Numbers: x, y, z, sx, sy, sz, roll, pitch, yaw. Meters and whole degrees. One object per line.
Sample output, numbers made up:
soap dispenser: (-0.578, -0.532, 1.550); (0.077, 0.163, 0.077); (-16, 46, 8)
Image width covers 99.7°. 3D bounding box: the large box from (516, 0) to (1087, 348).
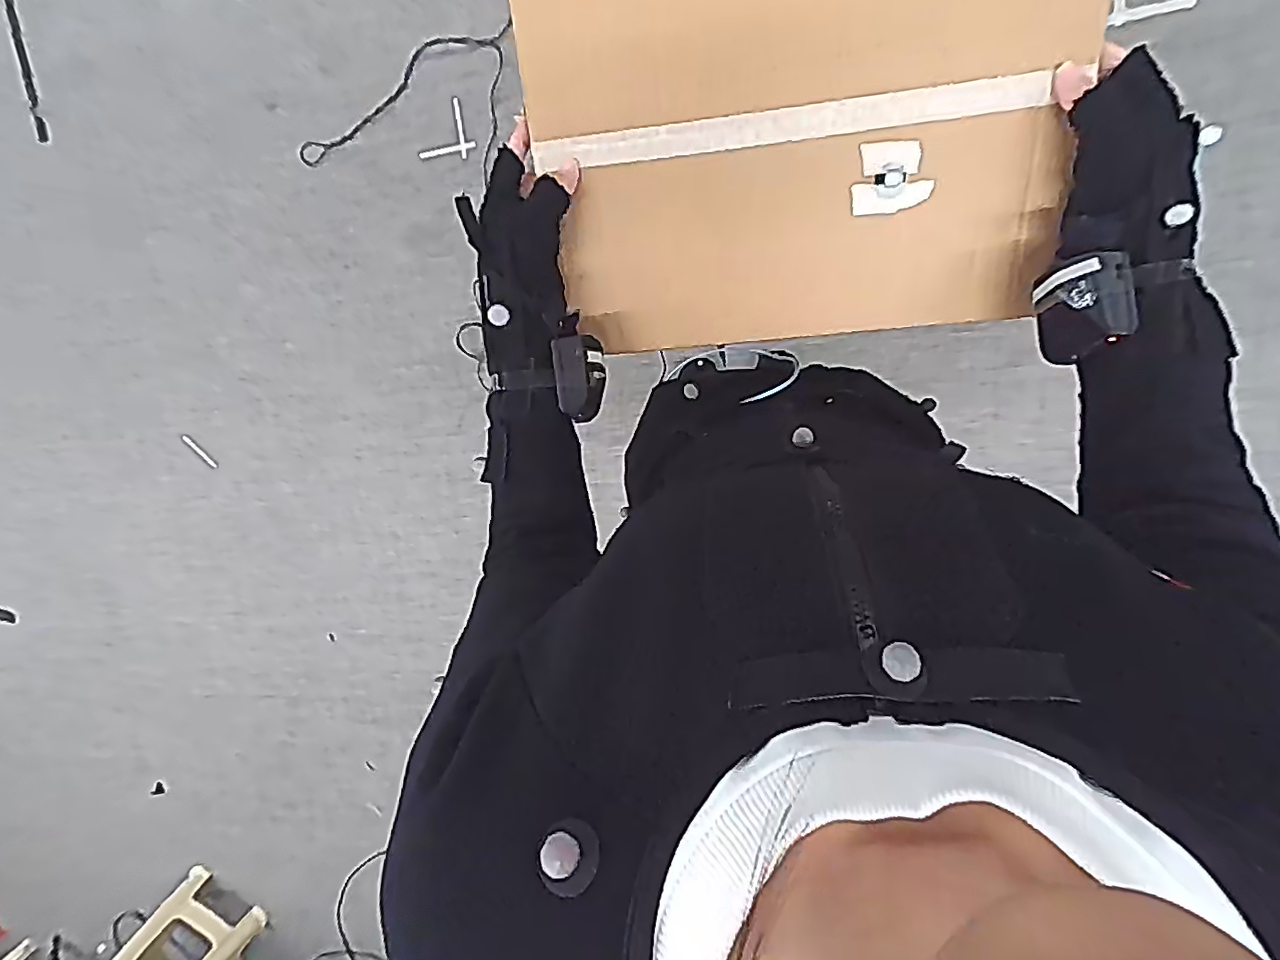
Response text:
large box: (0.124, -0.332, 0.550); (0.408, 0.320, 0.320); (-4, 113, 5)
